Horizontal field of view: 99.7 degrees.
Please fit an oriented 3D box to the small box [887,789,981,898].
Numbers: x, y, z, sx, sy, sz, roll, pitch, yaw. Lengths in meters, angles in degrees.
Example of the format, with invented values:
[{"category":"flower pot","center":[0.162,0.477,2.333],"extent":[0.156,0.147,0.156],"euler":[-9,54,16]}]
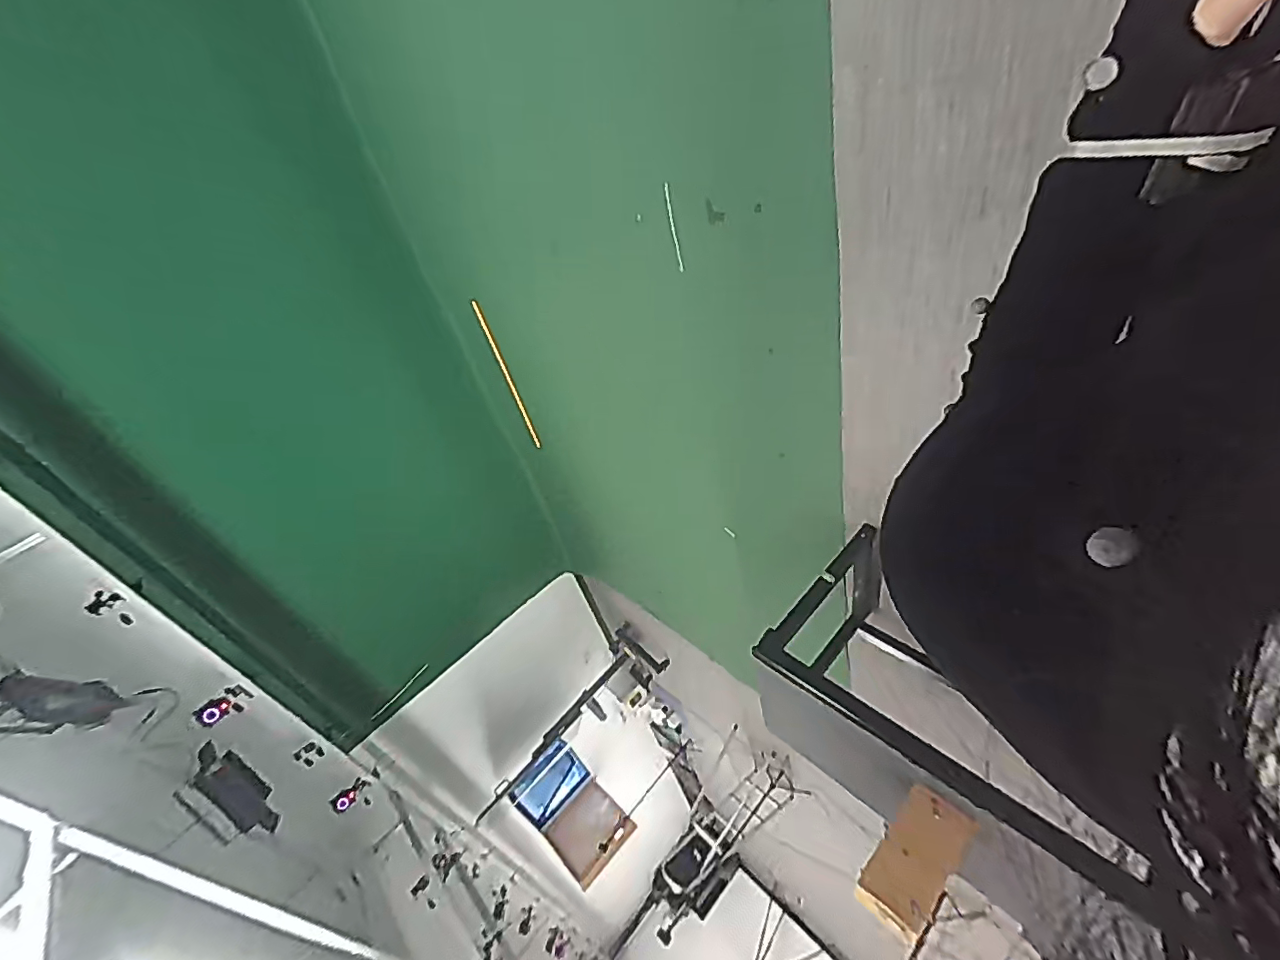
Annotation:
[{"category":"small box","center":[0.818,1.010,1.510],"extent":[0.168,0.176,0.179],"euler":[30,148,37]}]
